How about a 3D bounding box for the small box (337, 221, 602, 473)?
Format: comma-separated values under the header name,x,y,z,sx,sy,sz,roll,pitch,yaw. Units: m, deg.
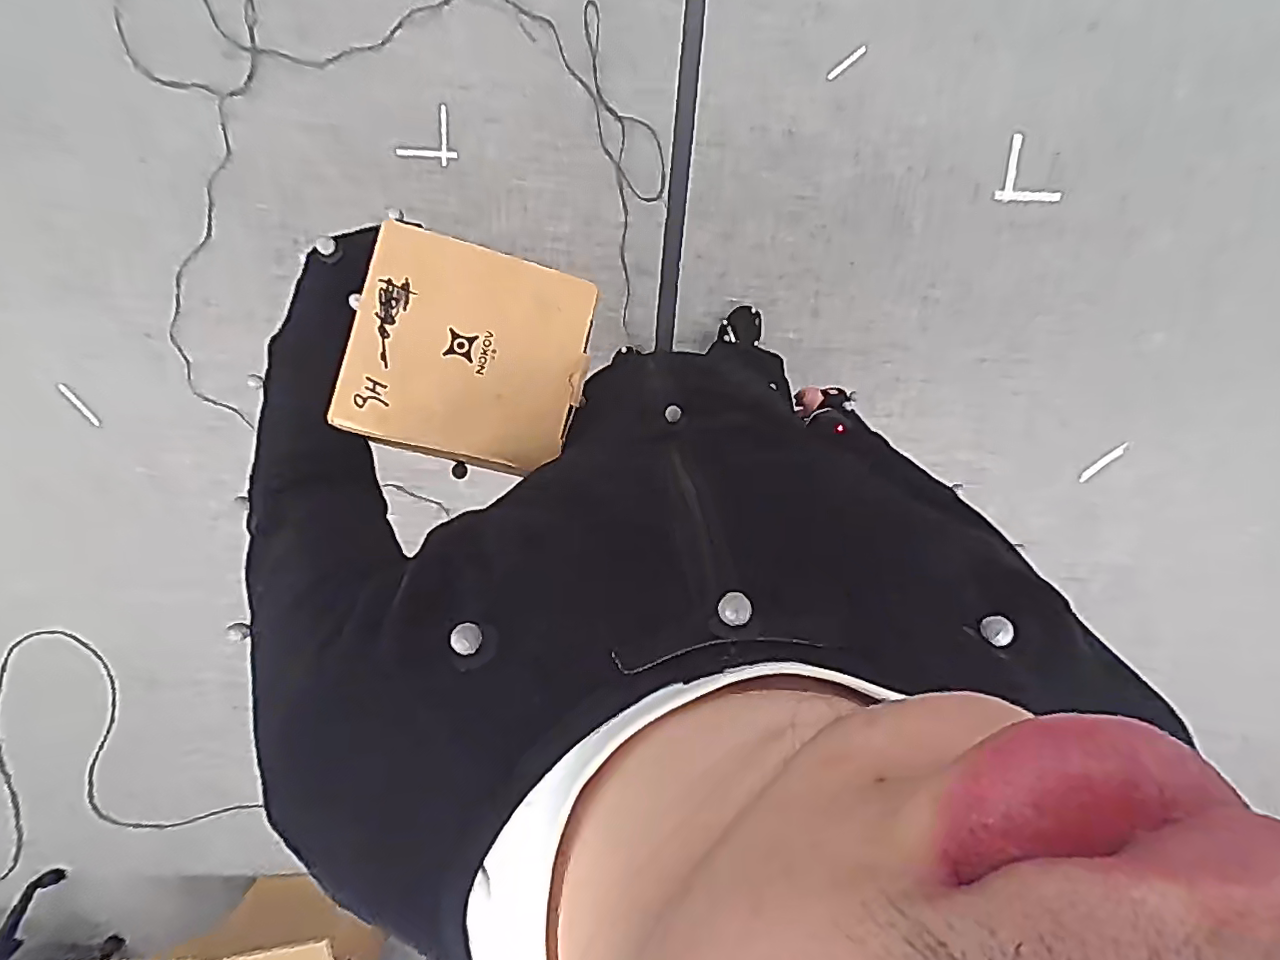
name,x,y,z,sx,sy,sz,roll,pitch,yaw
small box,-0.149,-0.103,0.511,0.179,0.176,0.168,13,85,-12
